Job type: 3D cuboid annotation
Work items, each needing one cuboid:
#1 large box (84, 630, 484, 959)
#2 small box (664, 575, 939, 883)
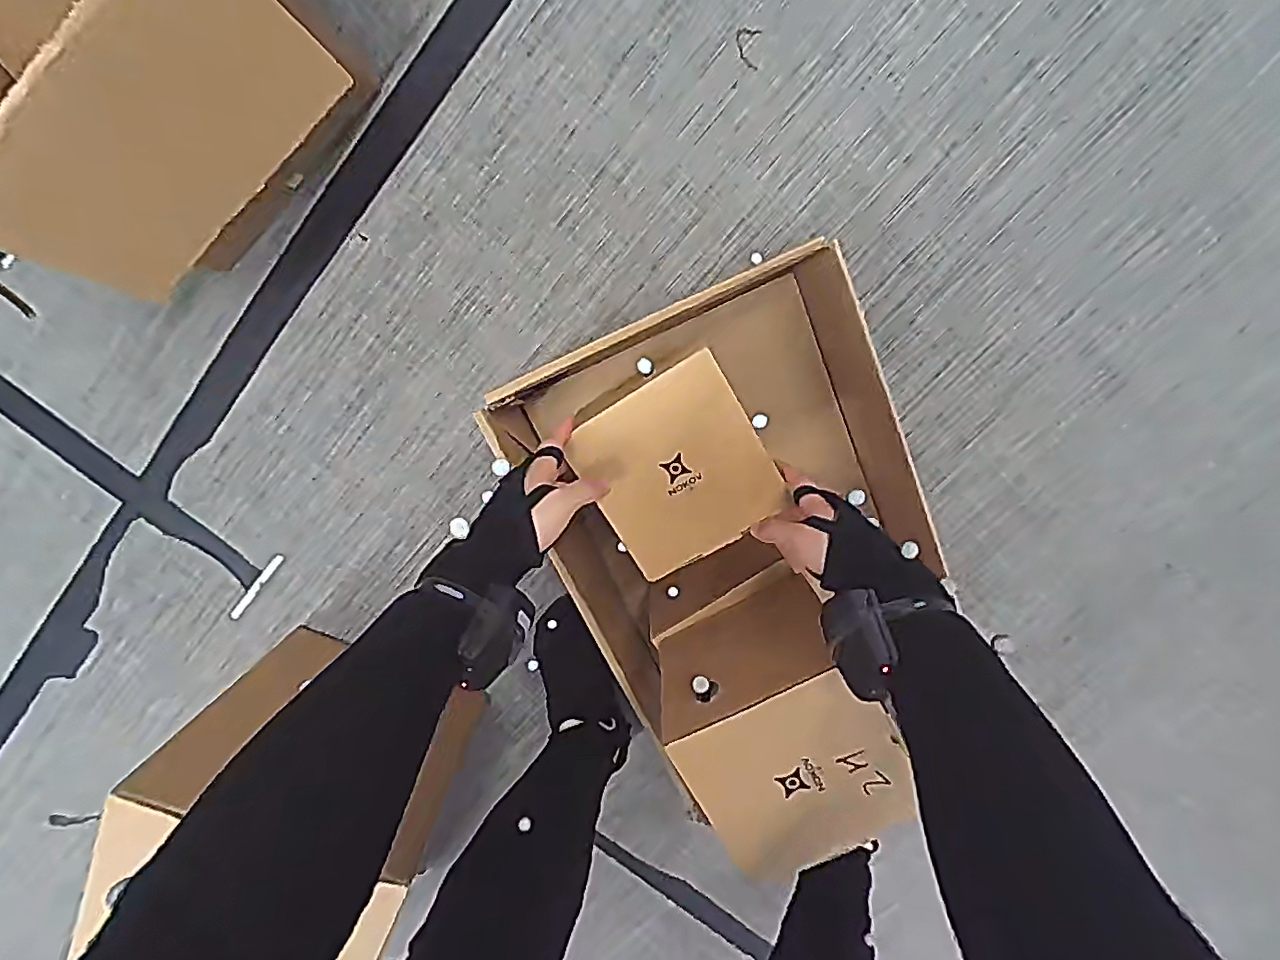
[{"bbox_3d":[-0.454,0.490,0.743,0.320,0.320,0.408,23,105,-6],"label":"large box"},{"bbox_3d":[0.135,0.221,0.518,0.179,0.176,0.168,-29,101,7],"label":"small box"}]
